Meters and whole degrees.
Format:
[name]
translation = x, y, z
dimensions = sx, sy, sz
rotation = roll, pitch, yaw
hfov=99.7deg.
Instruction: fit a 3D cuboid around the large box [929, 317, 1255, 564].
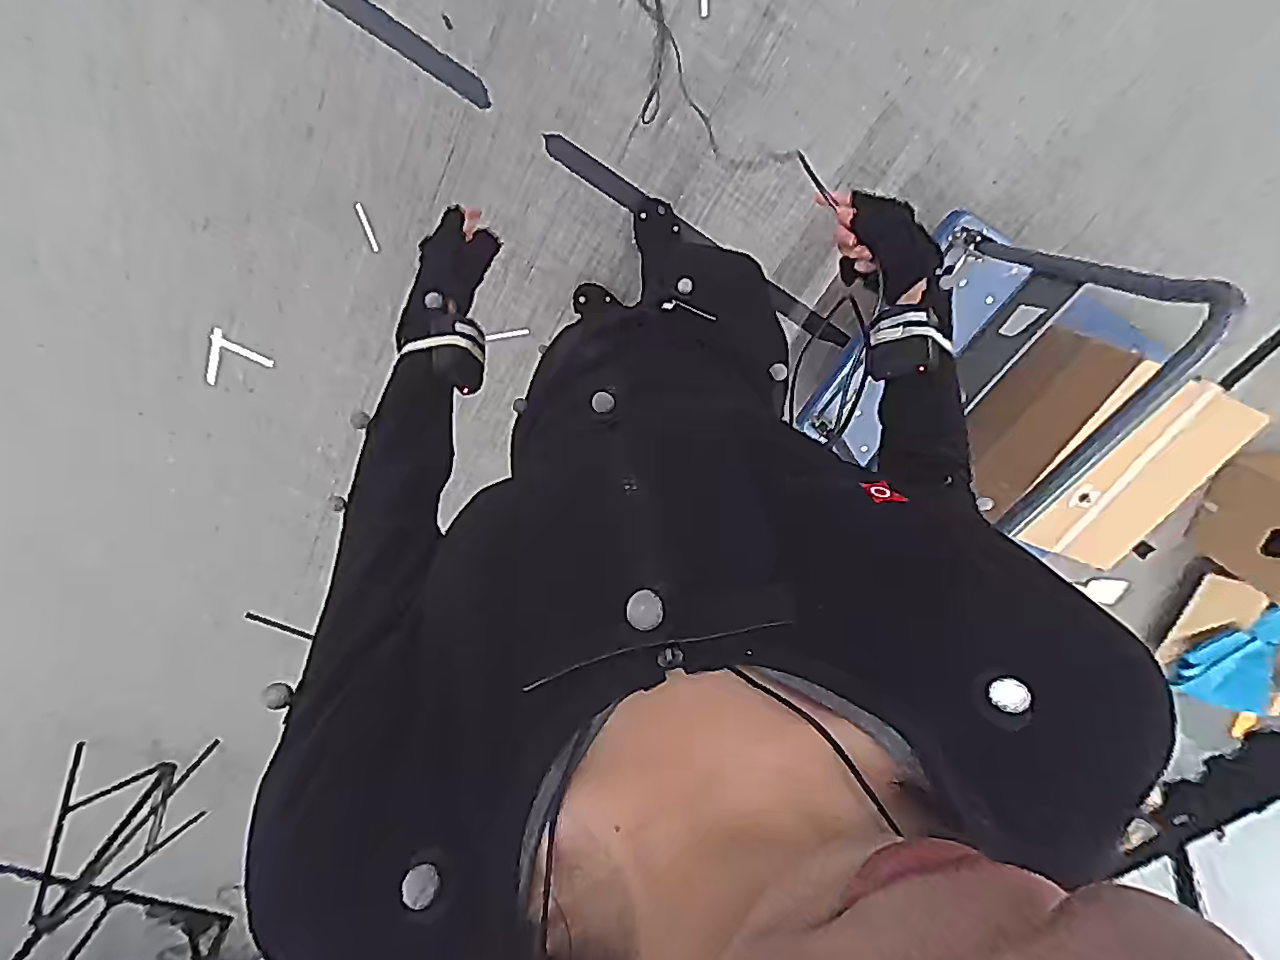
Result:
[large box]
translation = 0.956, -0.093, 1.212
dimensions = 0.320, 0.320, 0.408
rotation = 19, 119, -10
